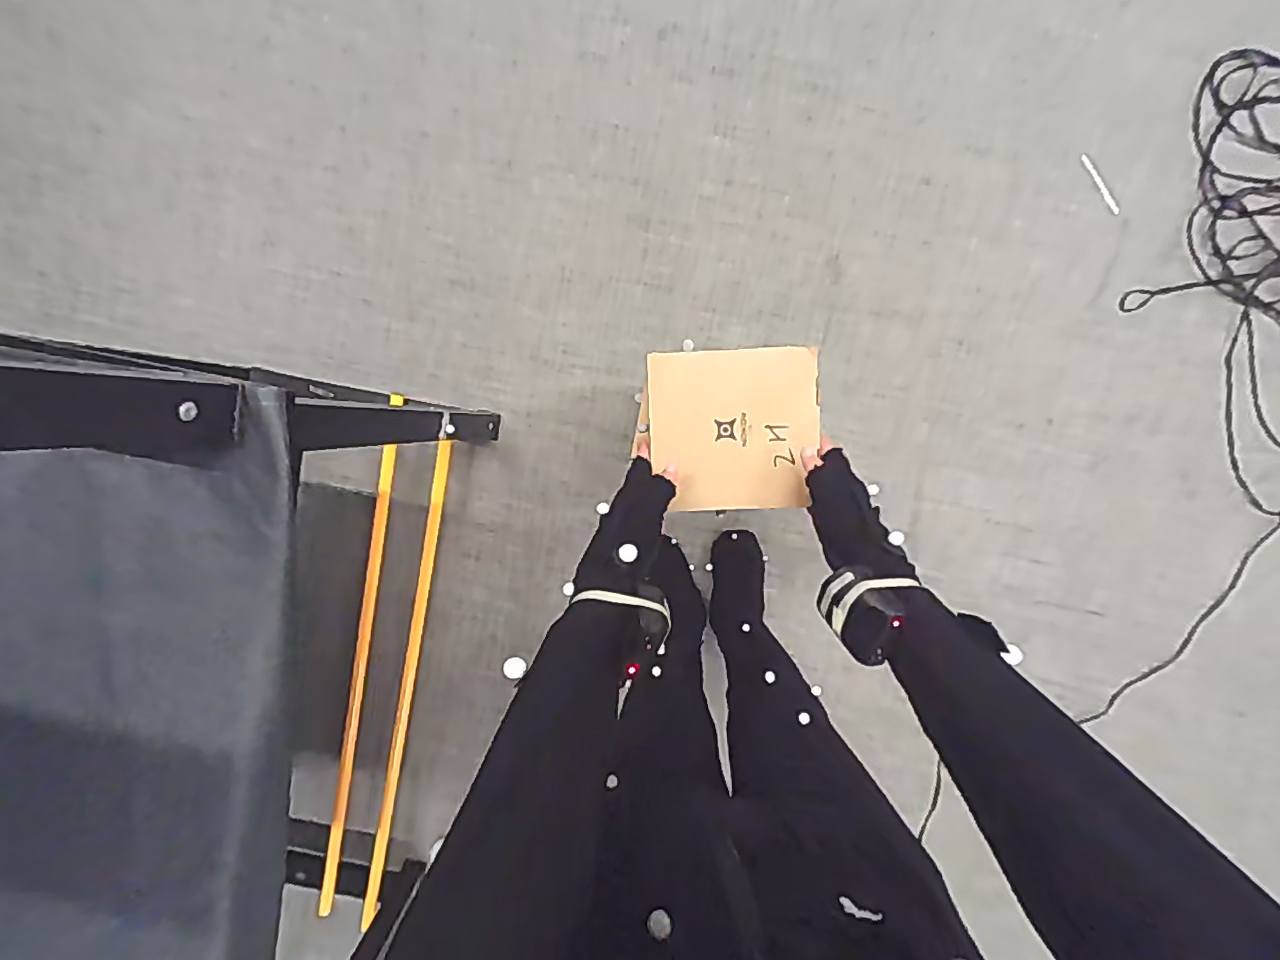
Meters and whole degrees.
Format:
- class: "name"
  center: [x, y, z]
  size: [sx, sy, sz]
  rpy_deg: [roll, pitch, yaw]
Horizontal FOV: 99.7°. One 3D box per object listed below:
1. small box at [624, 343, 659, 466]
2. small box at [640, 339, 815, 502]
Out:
- class: "small box"
  center: [0.083, -0.093, 0.792]
  size: [0.179, 0.176, 0.168]
  rpy_deg: [12, 98, 1]
- class: "small box"
  center: [0.093, -0.068, 0.630]
  size: [0.179, 0.176, 0.168]
  rpy_deg: [-2, 98, 3]
